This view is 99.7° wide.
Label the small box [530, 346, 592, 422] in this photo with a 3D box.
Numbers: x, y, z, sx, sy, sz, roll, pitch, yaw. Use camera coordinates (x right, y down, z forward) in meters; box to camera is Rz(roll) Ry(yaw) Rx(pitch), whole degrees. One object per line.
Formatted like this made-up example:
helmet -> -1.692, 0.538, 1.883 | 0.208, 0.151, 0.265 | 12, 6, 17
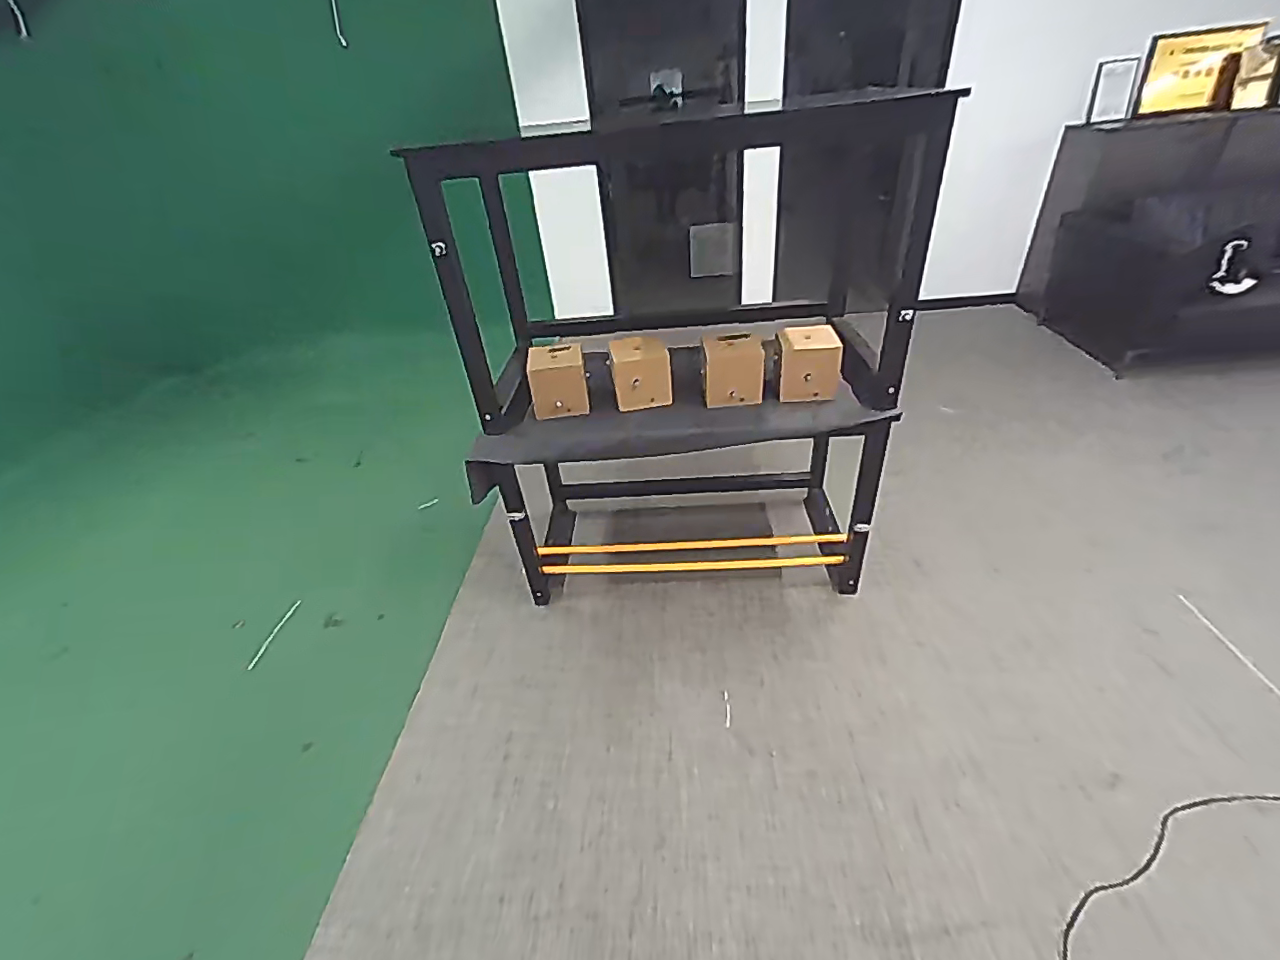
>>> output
small box -> -0.242, -0.300, 1.689 | 0.168, 0.176, 0.179 | -8, 36, -2
